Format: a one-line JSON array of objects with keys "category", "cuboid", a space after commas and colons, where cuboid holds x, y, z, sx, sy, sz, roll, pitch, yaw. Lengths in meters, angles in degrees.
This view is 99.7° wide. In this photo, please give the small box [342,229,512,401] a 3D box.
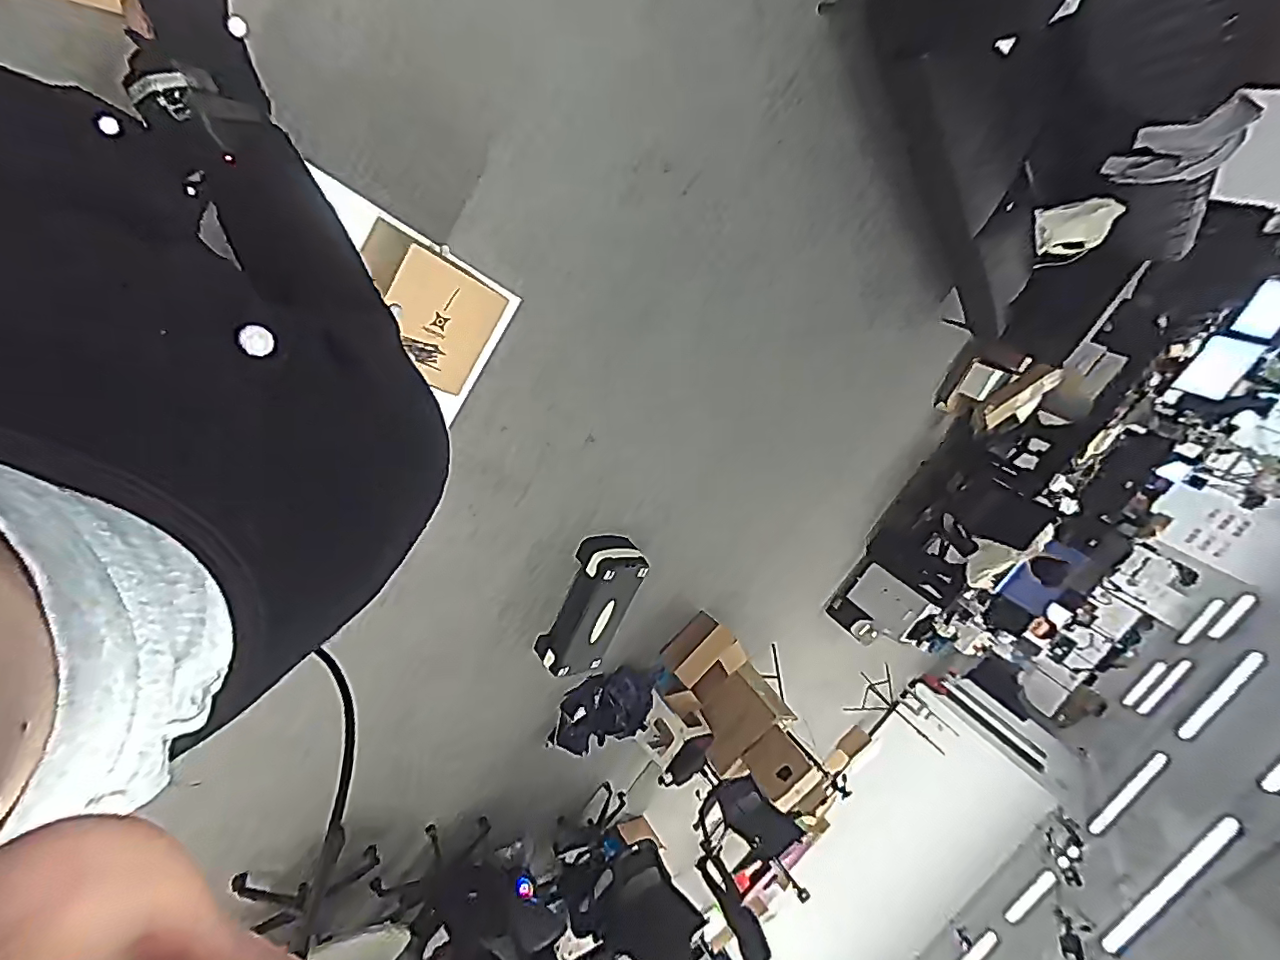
[{"category": "small box", "cuboid": [-0.337, -0.256, 0.840, 0.168, 0.176, 0.179, 20, 105, -49]}]
